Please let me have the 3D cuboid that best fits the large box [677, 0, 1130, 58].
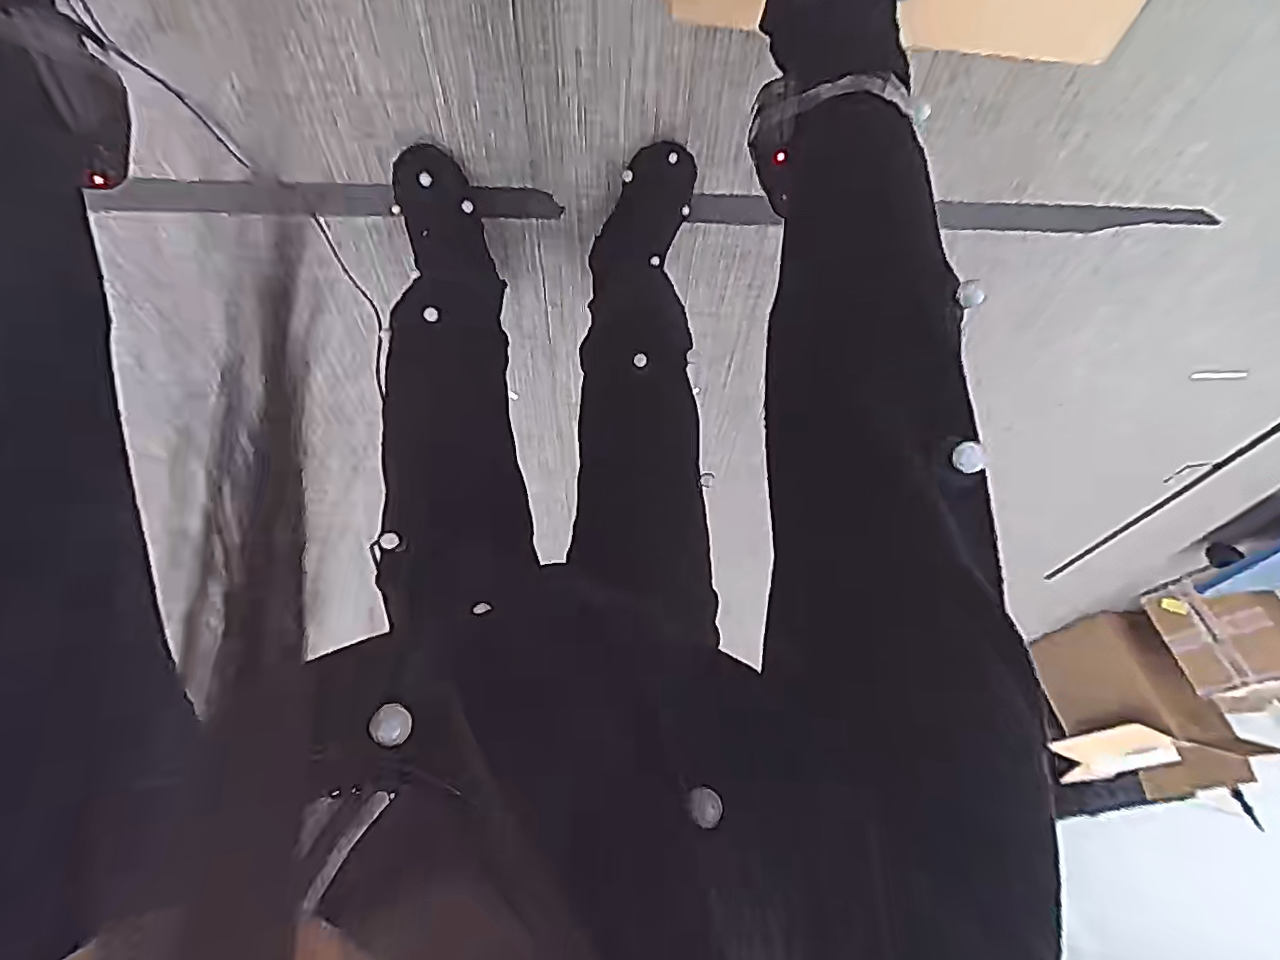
[{"bbox_3d":[0.226,-0.600,0.446,0.408,0.320,0.320,-1,144,-9],"label":"large box"}]
